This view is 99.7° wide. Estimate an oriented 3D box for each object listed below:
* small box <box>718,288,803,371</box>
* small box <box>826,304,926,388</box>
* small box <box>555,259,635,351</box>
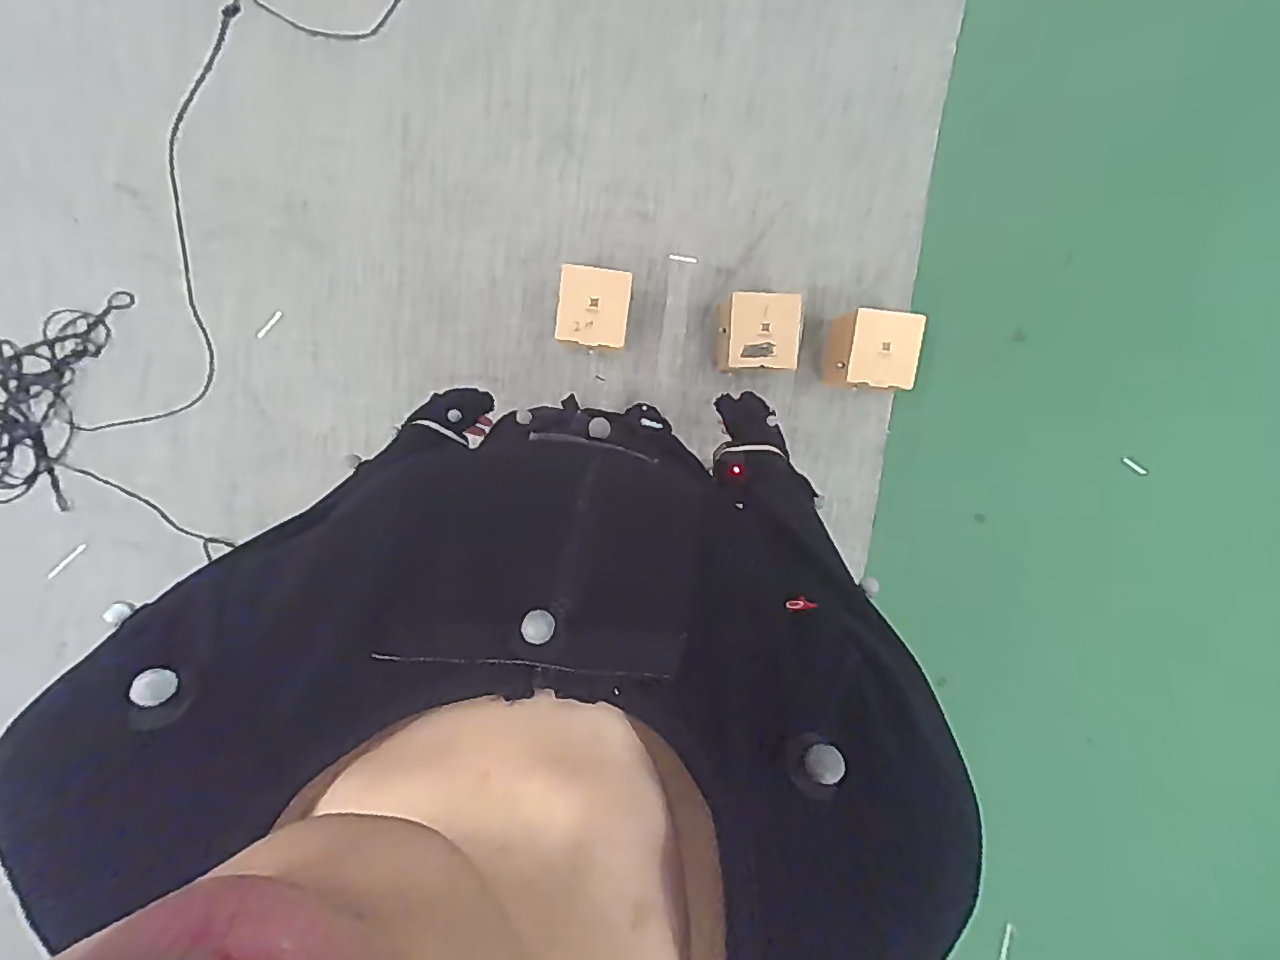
[{"bbox_3d":[0.292,-0.367,1.344,0.168,0.176,0.179,2,97,-2],"label":"small box"},{"bbox_3d":[0.582,-0.328,1.356,0.168,0.176,0.179,6,98,-1],"label":"small box"},{"bbox_3d":[-0.106,-0.421,1.328,0.168,0.176,0.179,8,99,-1],"label":"small box"}]
